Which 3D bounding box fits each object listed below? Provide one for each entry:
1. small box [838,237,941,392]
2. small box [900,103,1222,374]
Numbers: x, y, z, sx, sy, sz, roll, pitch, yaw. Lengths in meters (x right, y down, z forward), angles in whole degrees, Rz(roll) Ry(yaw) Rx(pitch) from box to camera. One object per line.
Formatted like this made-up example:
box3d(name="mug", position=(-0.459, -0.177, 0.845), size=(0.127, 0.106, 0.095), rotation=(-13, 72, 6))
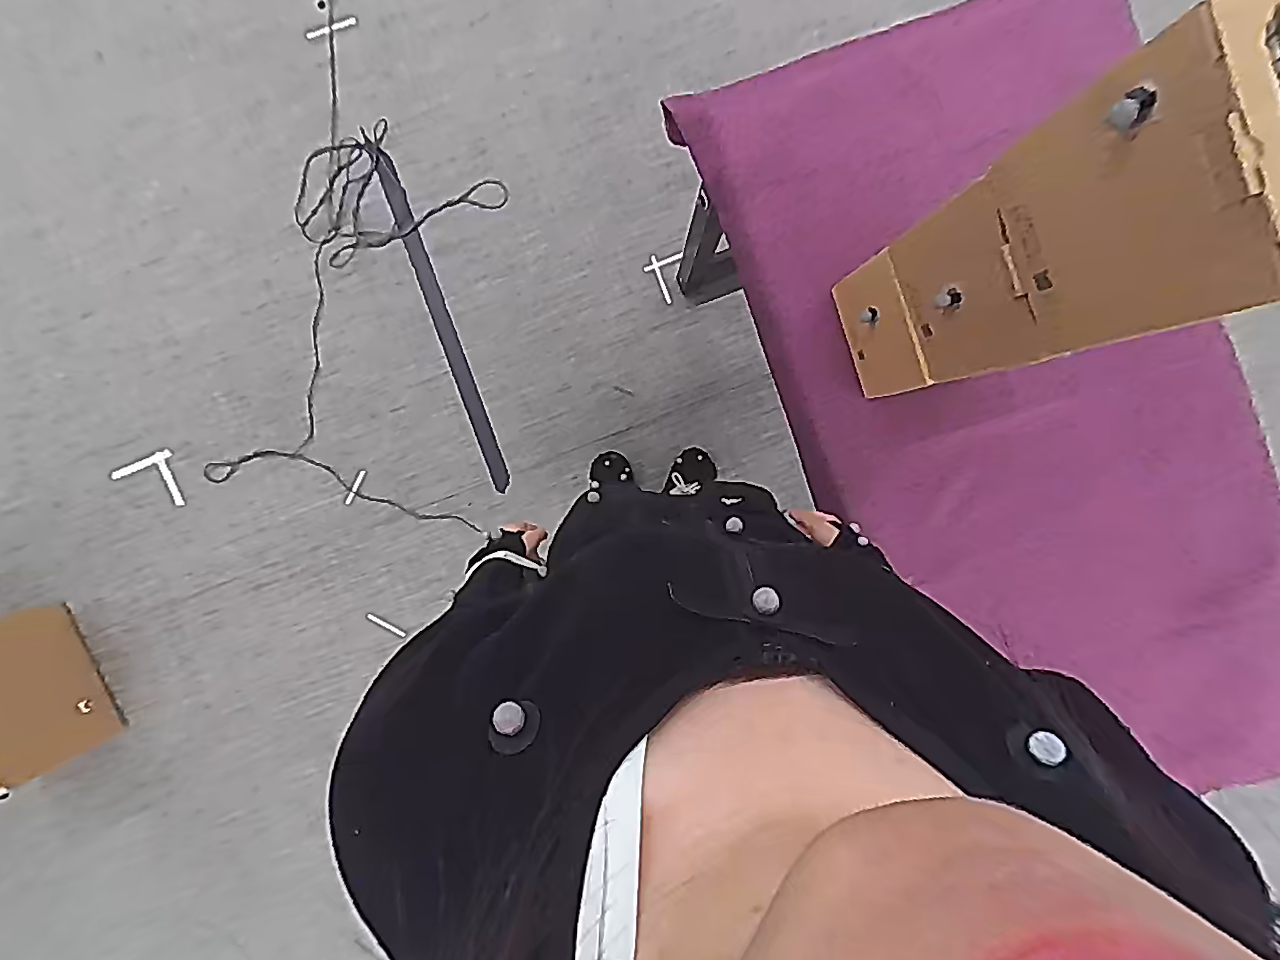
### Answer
box3d(name="small box", position=(0.380, -0.222, 0.703), size=(0.179, 0.176, 0.168), rotation=(-19, 94, -1))
box3d(name="small box", position=(0.390, -0.217, 0.540), size=(0.179, 0.176, 0.168), rotation=(-22, 94, -1))
